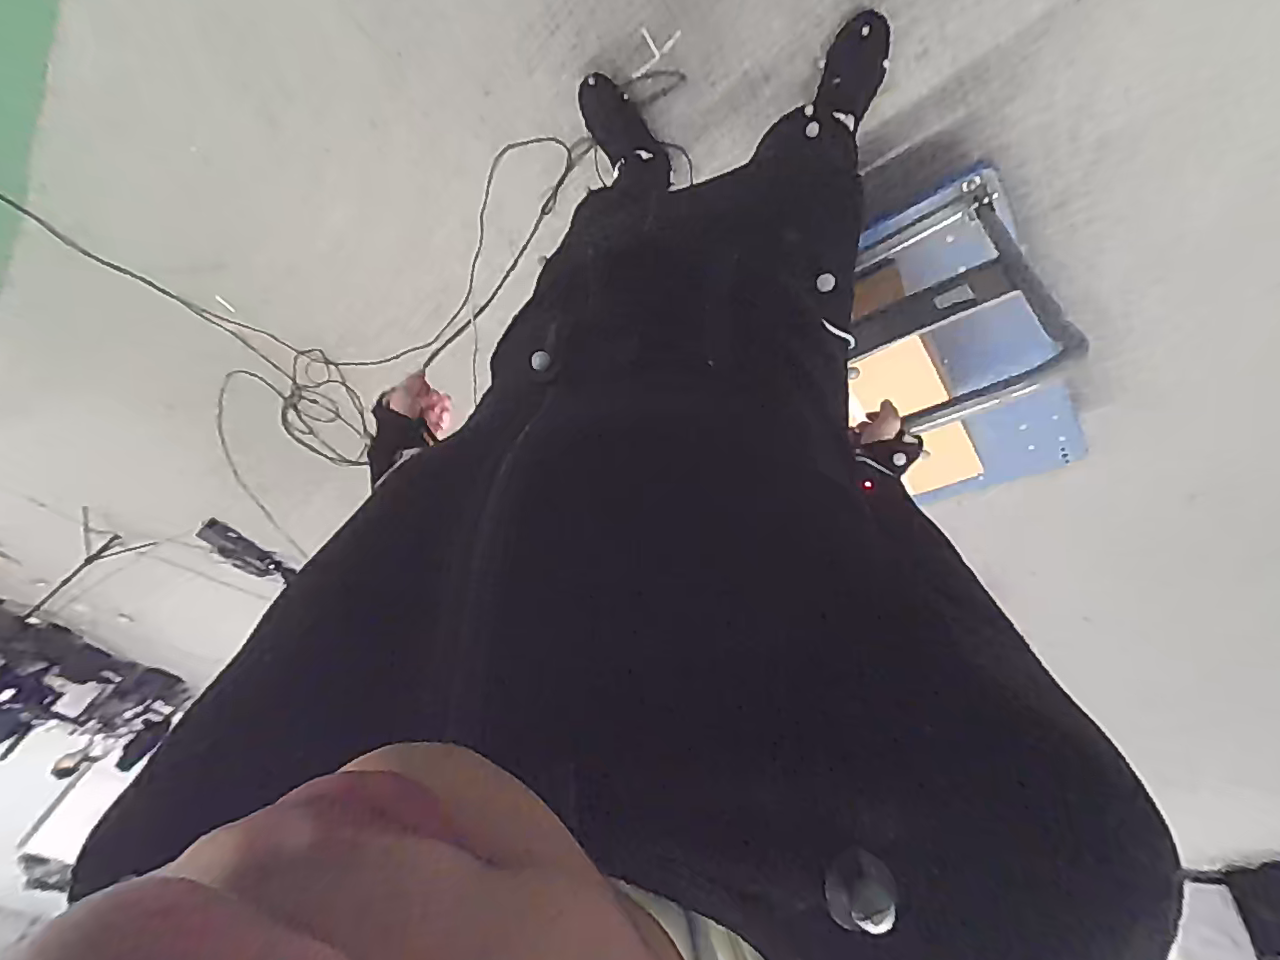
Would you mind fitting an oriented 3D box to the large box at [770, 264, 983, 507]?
[{"bbox_3d":[0.541,-0.210,1.276,0.320,0.320,0.408,-22,126,34],"label":"large box"}]
